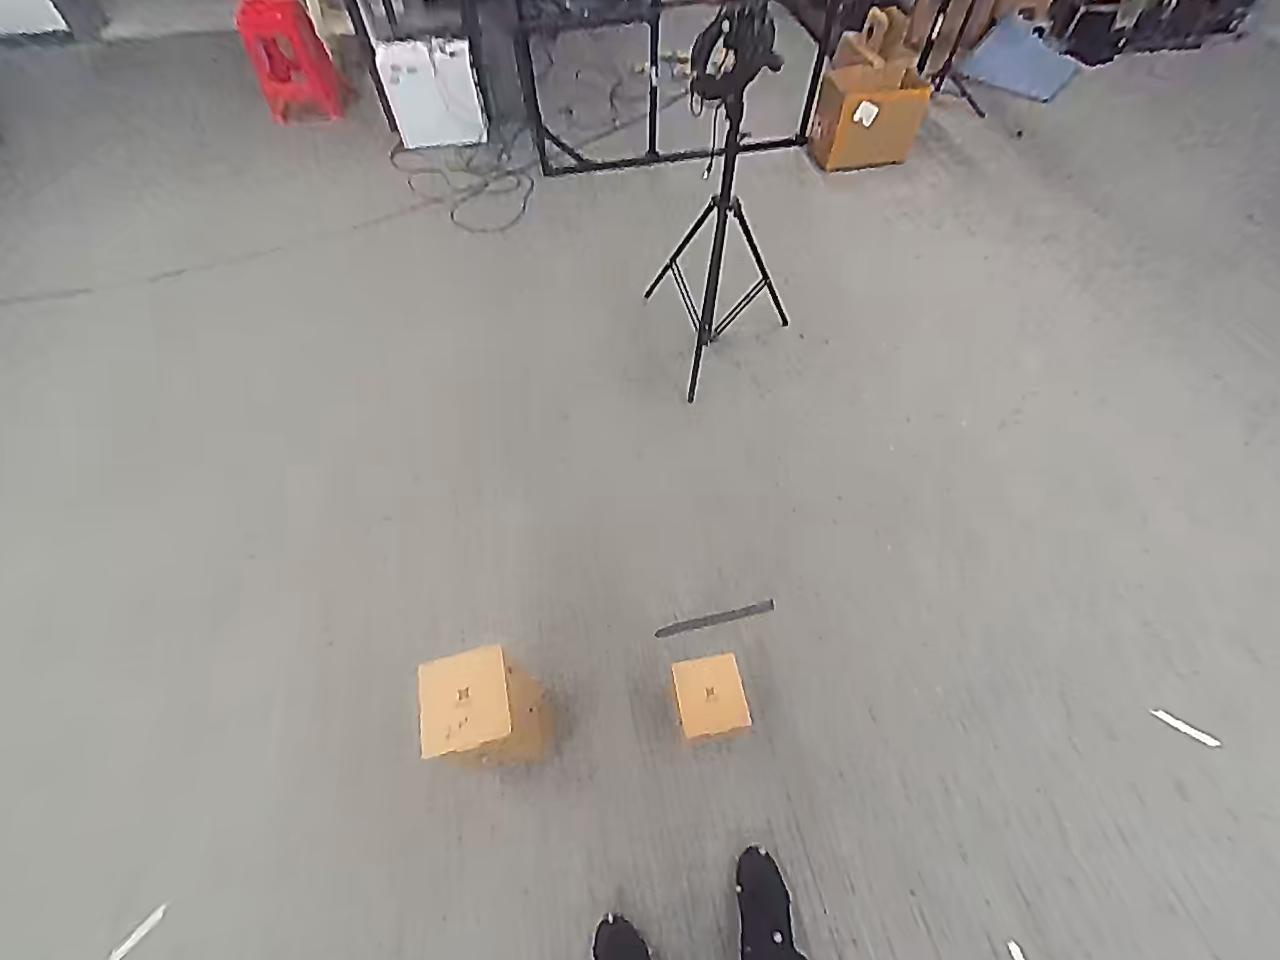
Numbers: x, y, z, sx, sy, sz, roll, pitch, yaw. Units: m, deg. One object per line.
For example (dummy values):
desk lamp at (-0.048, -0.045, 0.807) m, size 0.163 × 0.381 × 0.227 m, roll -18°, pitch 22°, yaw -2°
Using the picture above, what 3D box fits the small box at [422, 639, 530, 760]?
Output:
small box at (-0.328, 0.445, 1.090) m, size 0.168 × 0.176 × 0.179 m, roll -13°, pitch 59°, yaw -6°

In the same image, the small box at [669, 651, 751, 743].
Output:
small box at (0.173, 0.563, 1.397) m, size 0.168 × 0.176 × 0.179 m, roll -9°, pitch 59°, yaw -5°

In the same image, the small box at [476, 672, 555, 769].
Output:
small box at (-0.319, 0.613, 1.371) m, size 0.168 × 0.176 × 0.179 m, roll -13°, pitch 58°, yaw -6°
